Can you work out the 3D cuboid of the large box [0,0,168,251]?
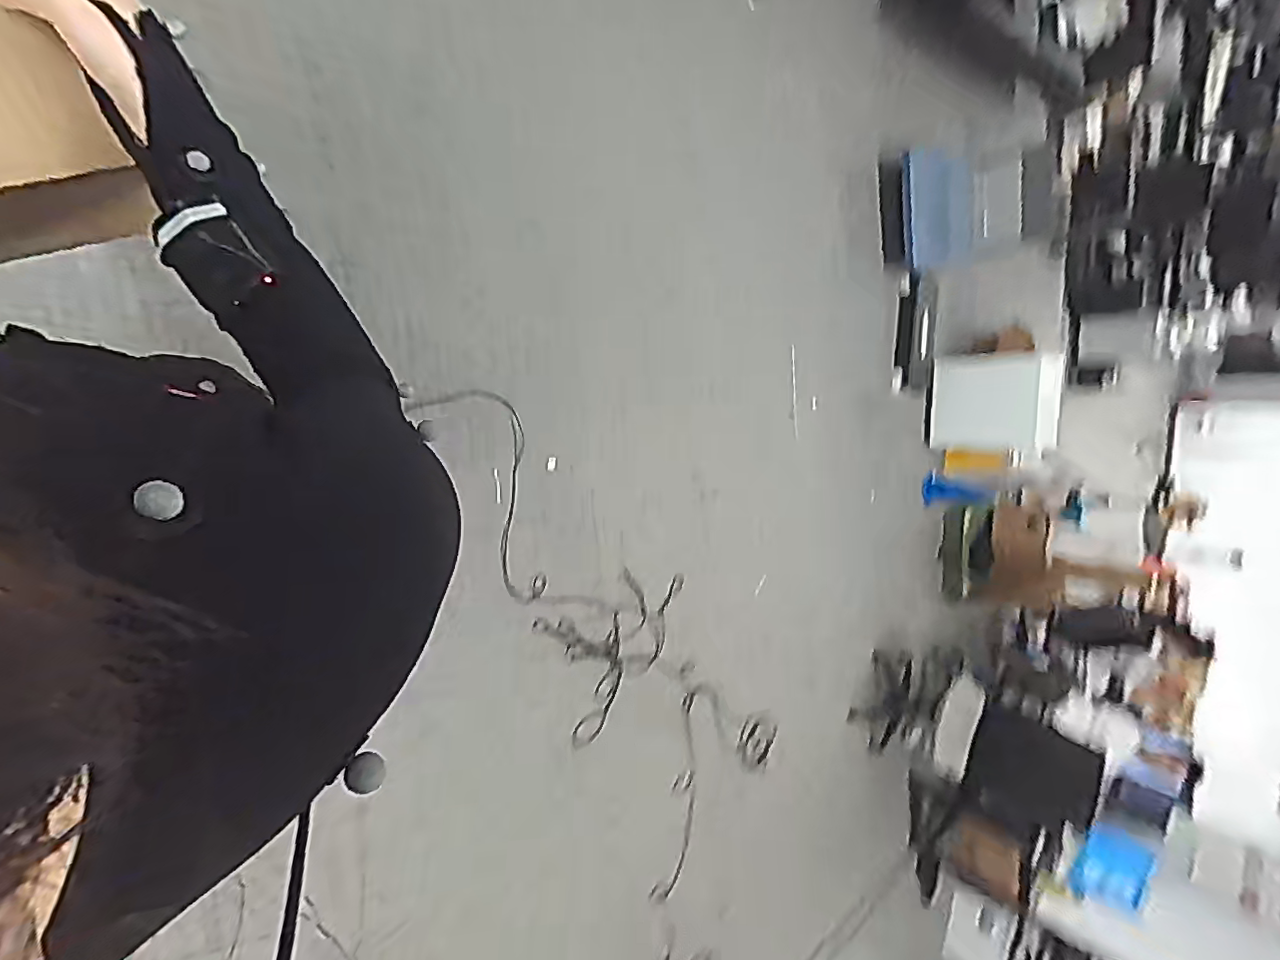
[{"bbox_3d":[-0.632,-0.306,0.348,0.408,0.320,0.320,-31,120,-29],"label":"large box"}]
